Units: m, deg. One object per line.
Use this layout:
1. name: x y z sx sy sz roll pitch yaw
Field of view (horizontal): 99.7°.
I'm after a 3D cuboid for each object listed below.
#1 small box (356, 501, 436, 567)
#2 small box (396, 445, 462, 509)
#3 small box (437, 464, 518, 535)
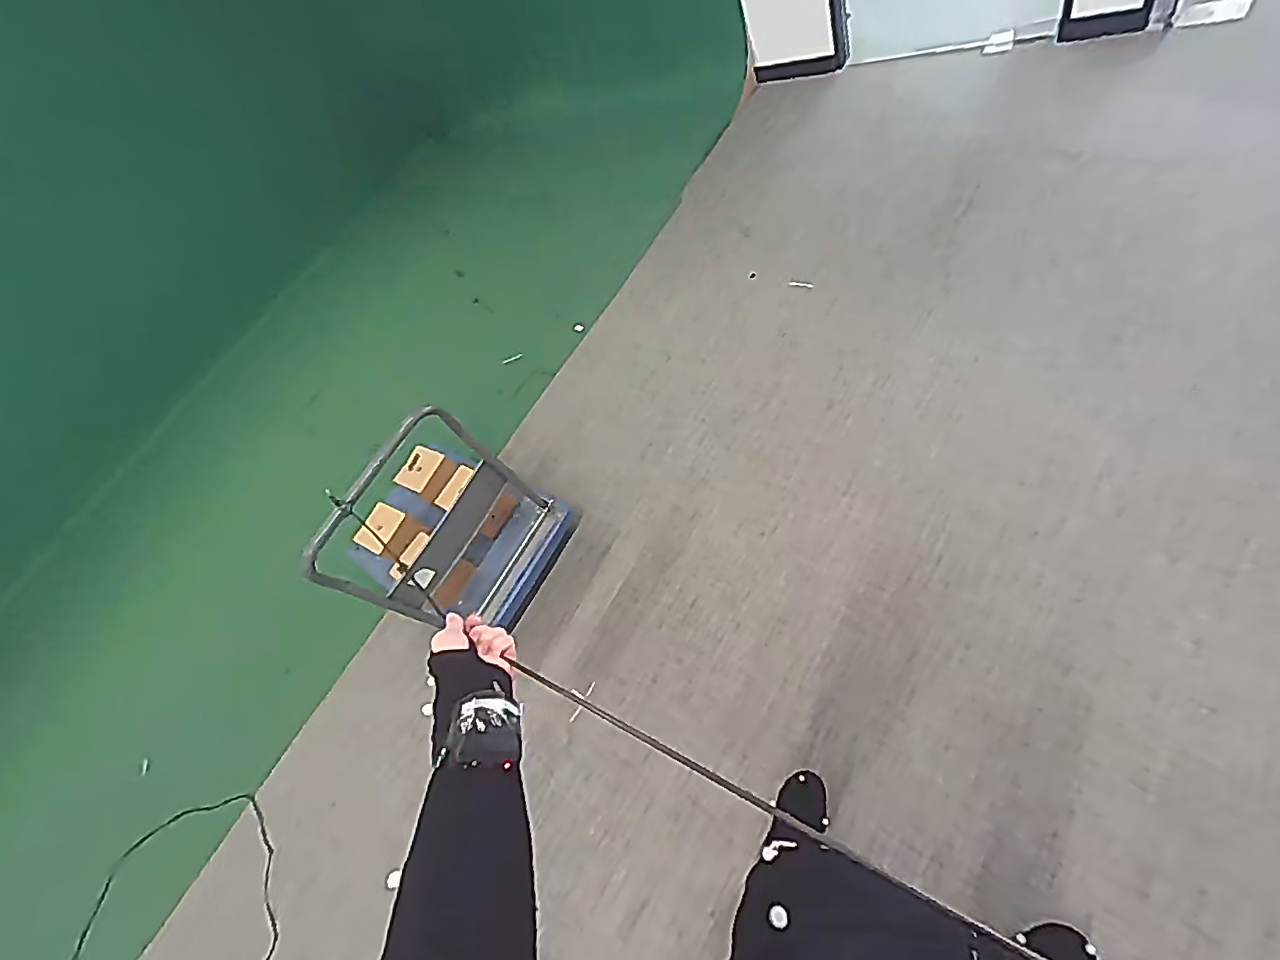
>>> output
1. small box: -0.892 0.204 1.991 0.179 0.176 0.168 17 69 33
2. small box: -0.778 -0.009 2.063 0.179 0.176 0.168 18 71 32
3. small box: -0.571 0.073 1.911 0.179 0.176 0.168 23 73 34
